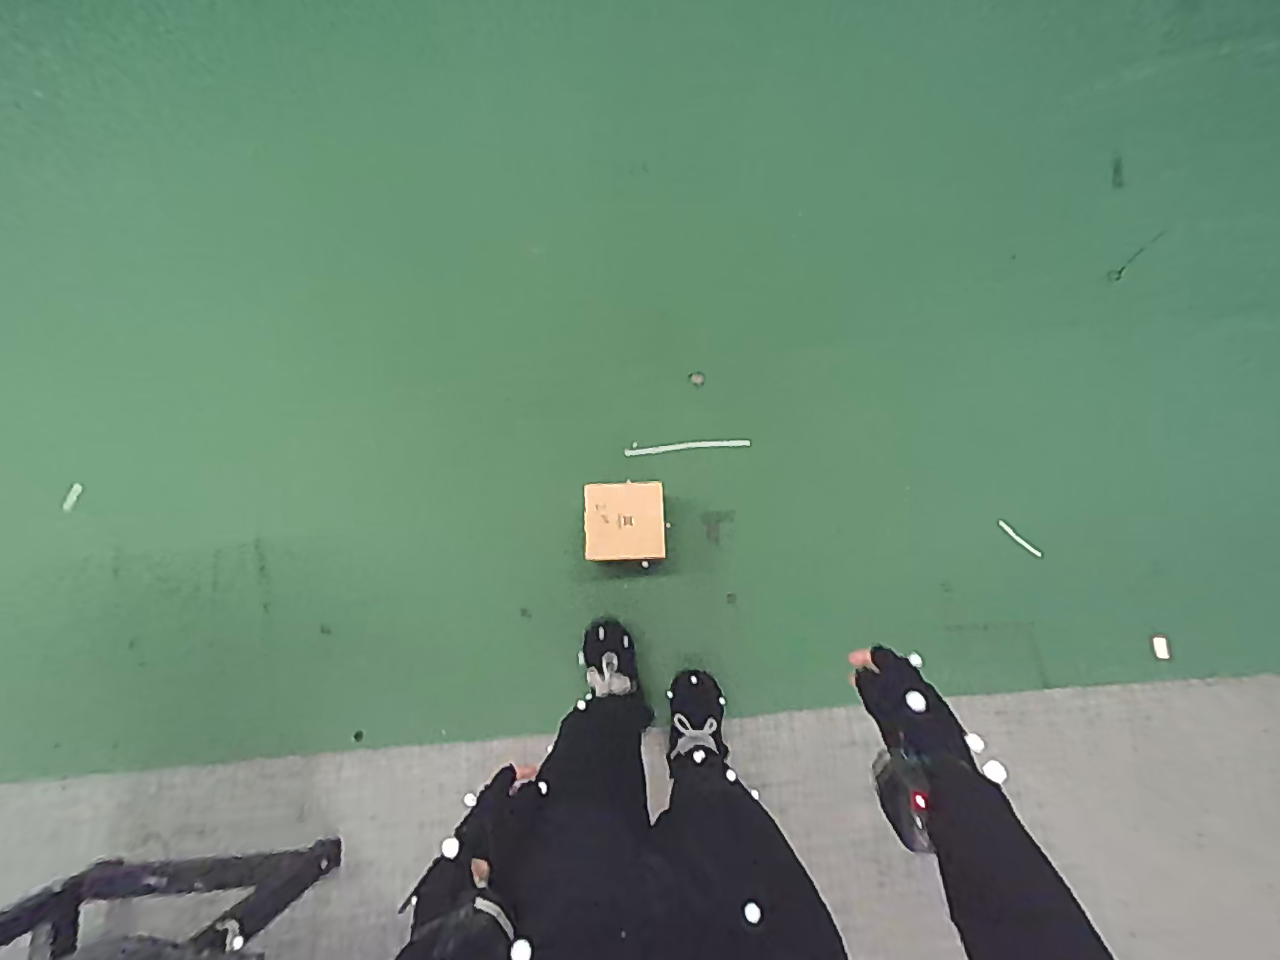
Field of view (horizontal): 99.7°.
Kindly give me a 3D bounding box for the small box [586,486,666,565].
[{"bbox_3d":[-0.029,0.109,1.257,0.179,0.176,0.168,-2,79,3],"label":"small box"}]
